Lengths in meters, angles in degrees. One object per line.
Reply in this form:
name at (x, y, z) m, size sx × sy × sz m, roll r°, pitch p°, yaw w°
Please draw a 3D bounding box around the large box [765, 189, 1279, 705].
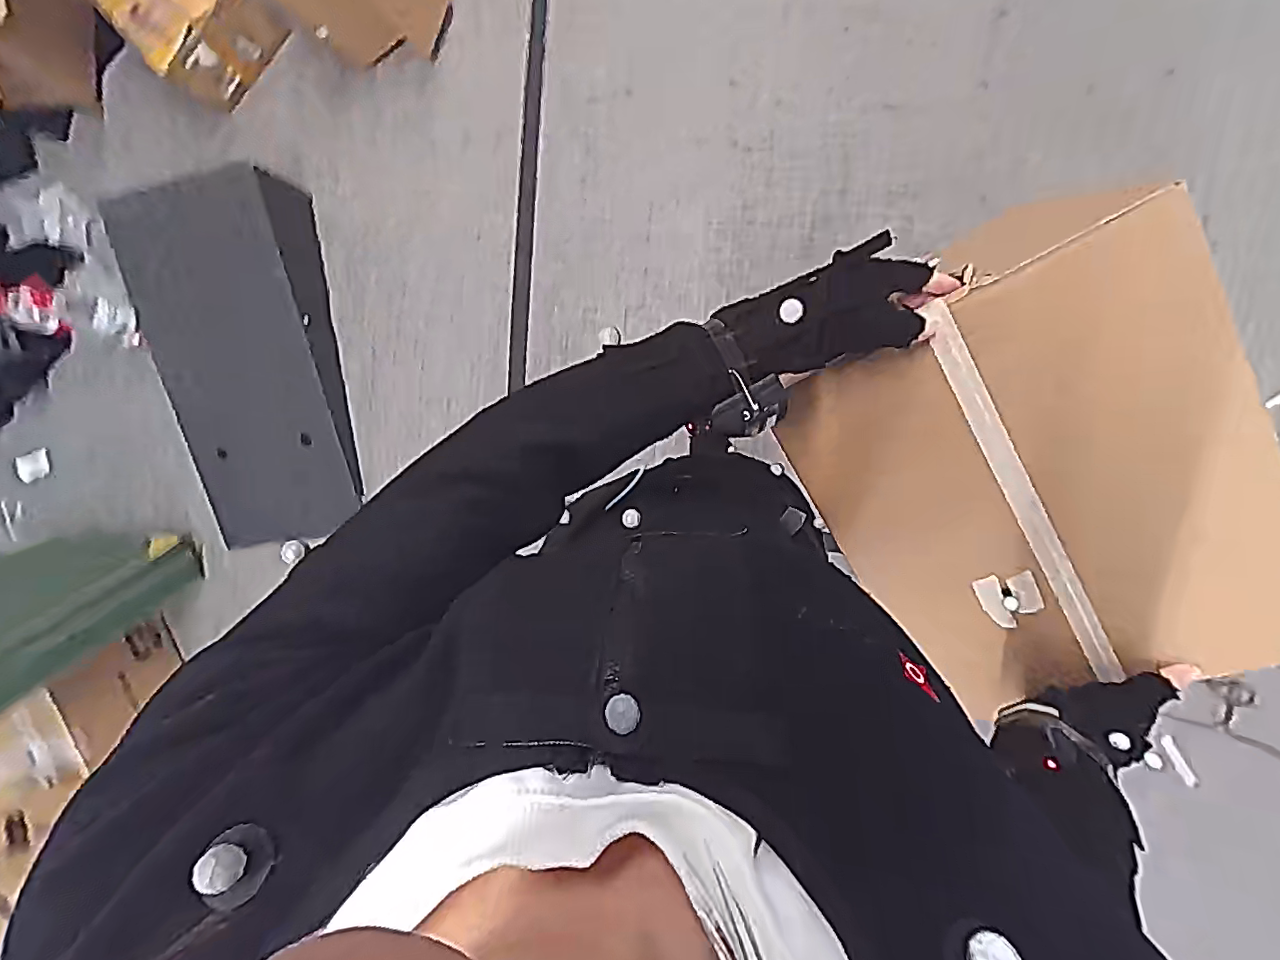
large box at (0.380, -0.040, 0.604) m, size 0.320 × 0.320 × 0.408 m, roll -26°, pitch 104°, yaw 28°
